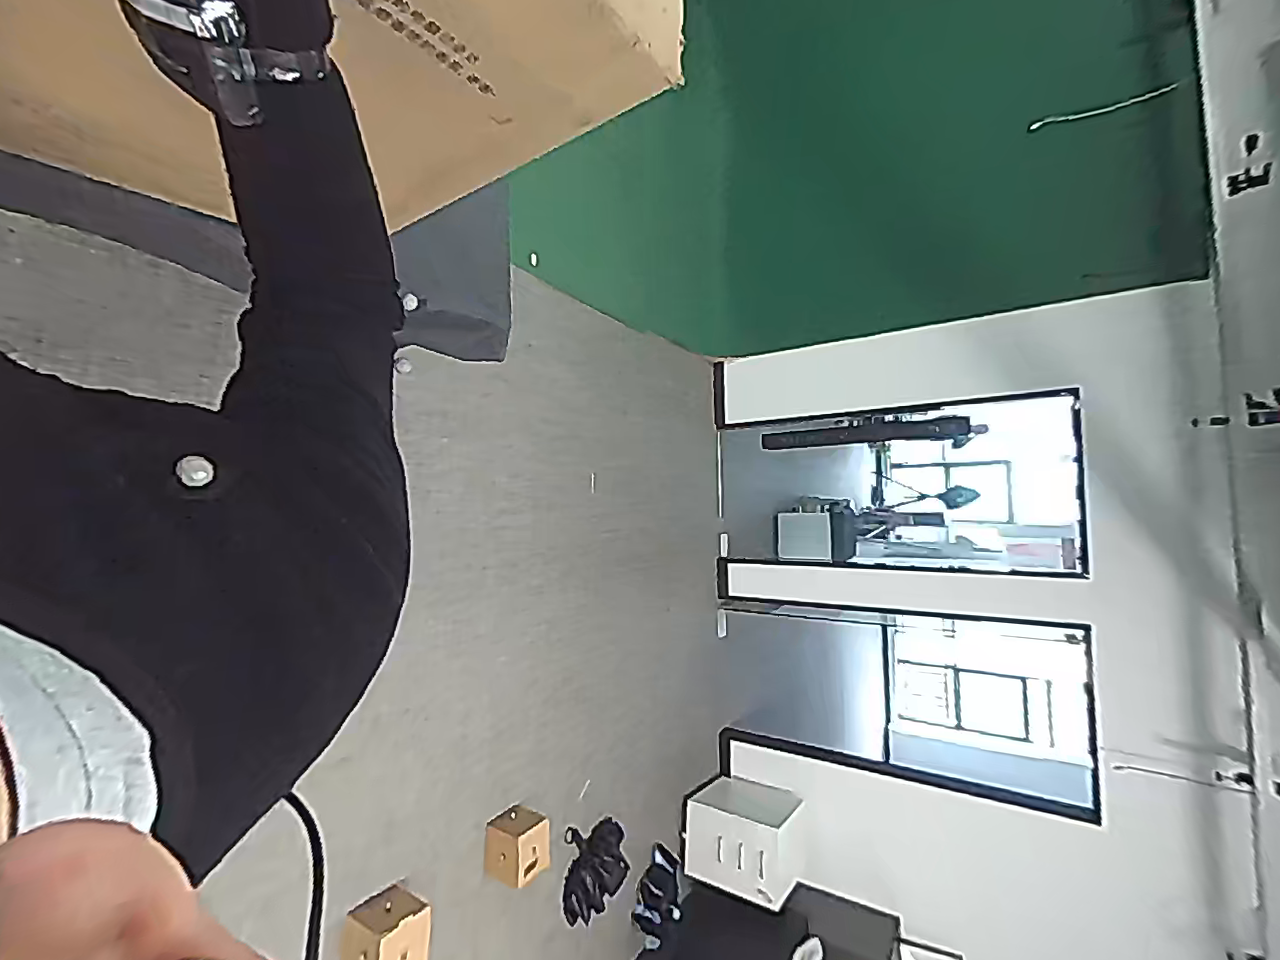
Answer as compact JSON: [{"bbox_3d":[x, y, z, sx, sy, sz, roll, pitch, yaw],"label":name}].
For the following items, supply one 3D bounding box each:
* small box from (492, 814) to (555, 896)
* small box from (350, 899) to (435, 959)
[{"bbox_3d":[-0.435,1.385,2.011,0.168,0.176,0.179,6,81,-57],"label":"small box"},{"bbox_3d":[-0.724,1.367,1.575,0.168,0.176,0.179,11,78,-56],"label":"small box"}]
